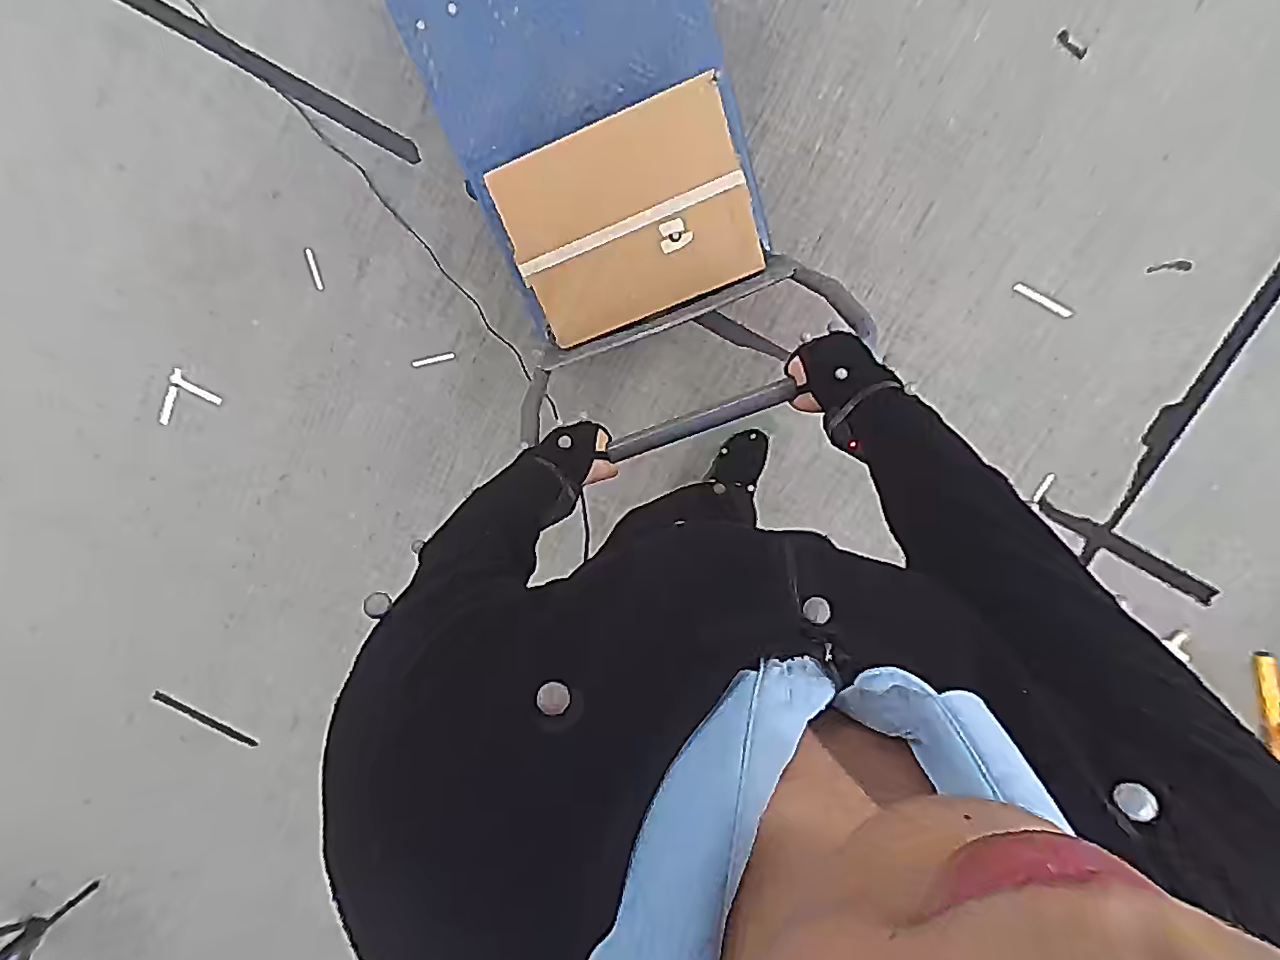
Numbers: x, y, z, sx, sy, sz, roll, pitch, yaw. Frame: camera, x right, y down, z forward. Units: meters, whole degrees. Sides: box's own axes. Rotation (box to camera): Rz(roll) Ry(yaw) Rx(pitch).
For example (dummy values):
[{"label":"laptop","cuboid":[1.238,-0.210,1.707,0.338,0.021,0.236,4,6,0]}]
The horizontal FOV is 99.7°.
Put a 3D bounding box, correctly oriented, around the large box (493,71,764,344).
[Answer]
[{"label":"large box","cuboid":[-0.019,-0.516,1.079,0.408,0.320,0.320,-21,115,7]}]
